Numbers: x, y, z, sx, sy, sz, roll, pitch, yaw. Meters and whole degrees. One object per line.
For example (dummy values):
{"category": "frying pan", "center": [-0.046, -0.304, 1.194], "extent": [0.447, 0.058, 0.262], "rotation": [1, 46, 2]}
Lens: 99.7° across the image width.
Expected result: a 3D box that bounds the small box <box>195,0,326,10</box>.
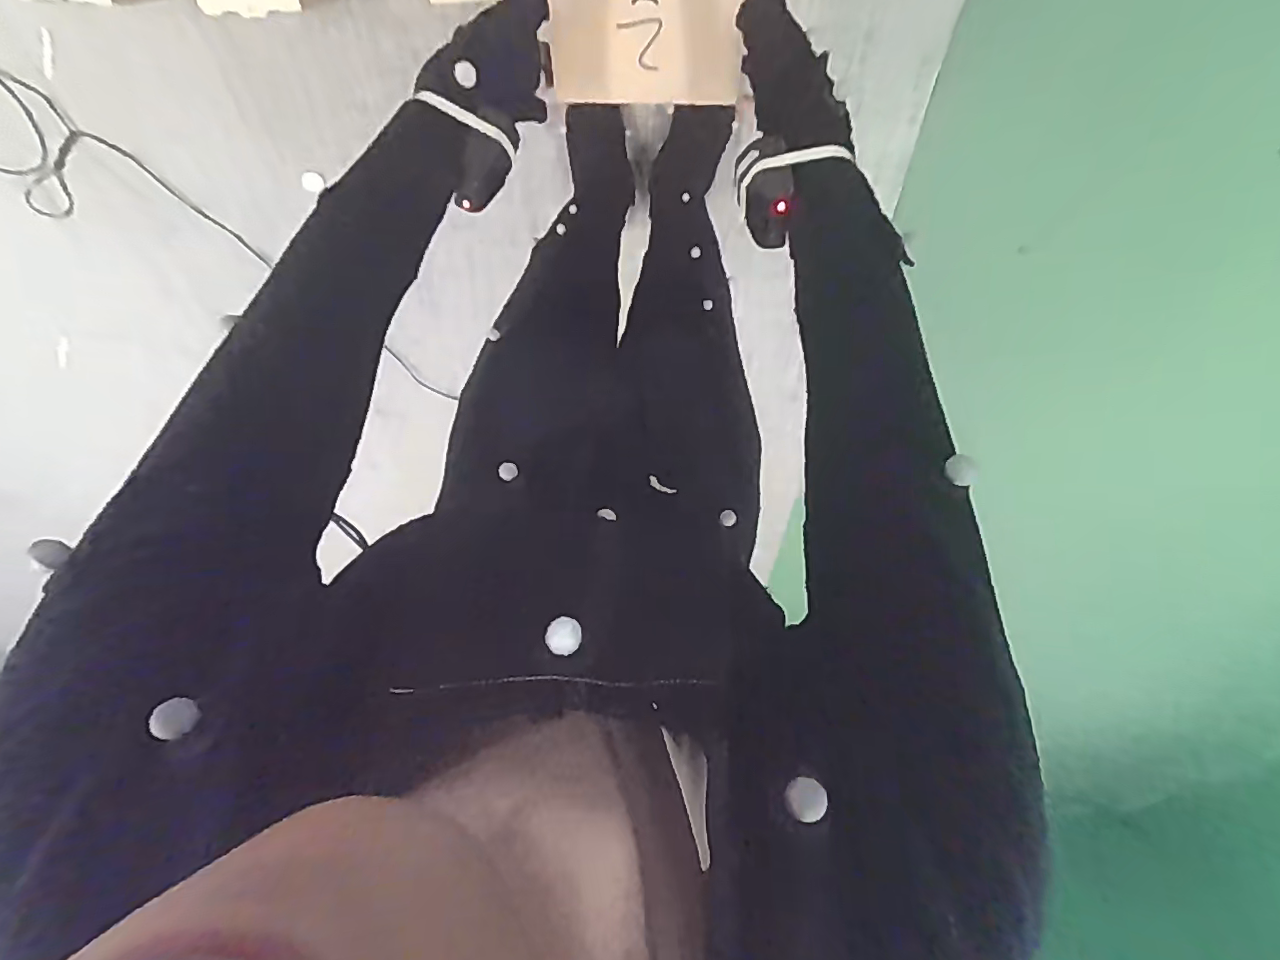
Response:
{"category": "small box", "center": [-0.597, -0.844, 0.824], "extent": [0.168, 0.176, 0.179], "rotation": [2, 138, 4]}
